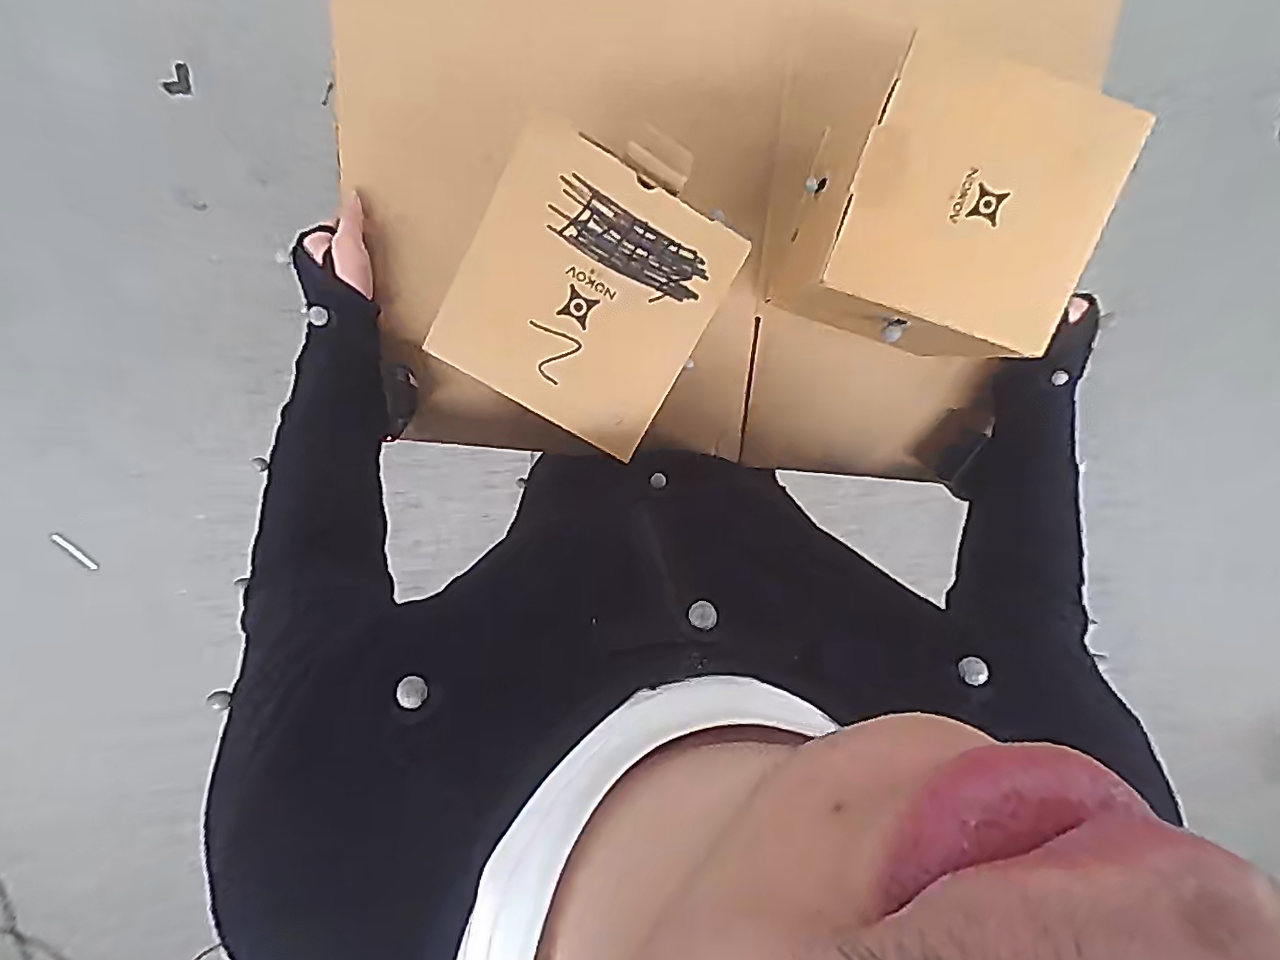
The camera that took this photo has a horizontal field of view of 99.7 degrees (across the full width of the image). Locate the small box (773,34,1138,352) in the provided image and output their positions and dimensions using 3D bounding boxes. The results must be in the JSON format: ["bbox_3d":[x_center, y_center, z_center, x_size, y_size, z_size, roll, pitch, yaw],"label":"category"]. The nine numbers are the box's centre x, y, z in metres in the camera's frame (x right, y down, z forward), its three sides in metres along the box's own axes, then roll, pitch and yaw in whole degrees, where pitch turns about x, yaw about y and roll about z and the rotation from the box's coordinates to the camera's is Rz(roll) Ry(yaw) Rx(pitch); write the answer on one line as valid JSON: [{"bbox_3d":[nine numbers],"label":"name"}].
[{"bbox_3d":[0.236,-0.216,0.460,0.179,0.176,0.168,18,103,-3],"label":"small box"}]
